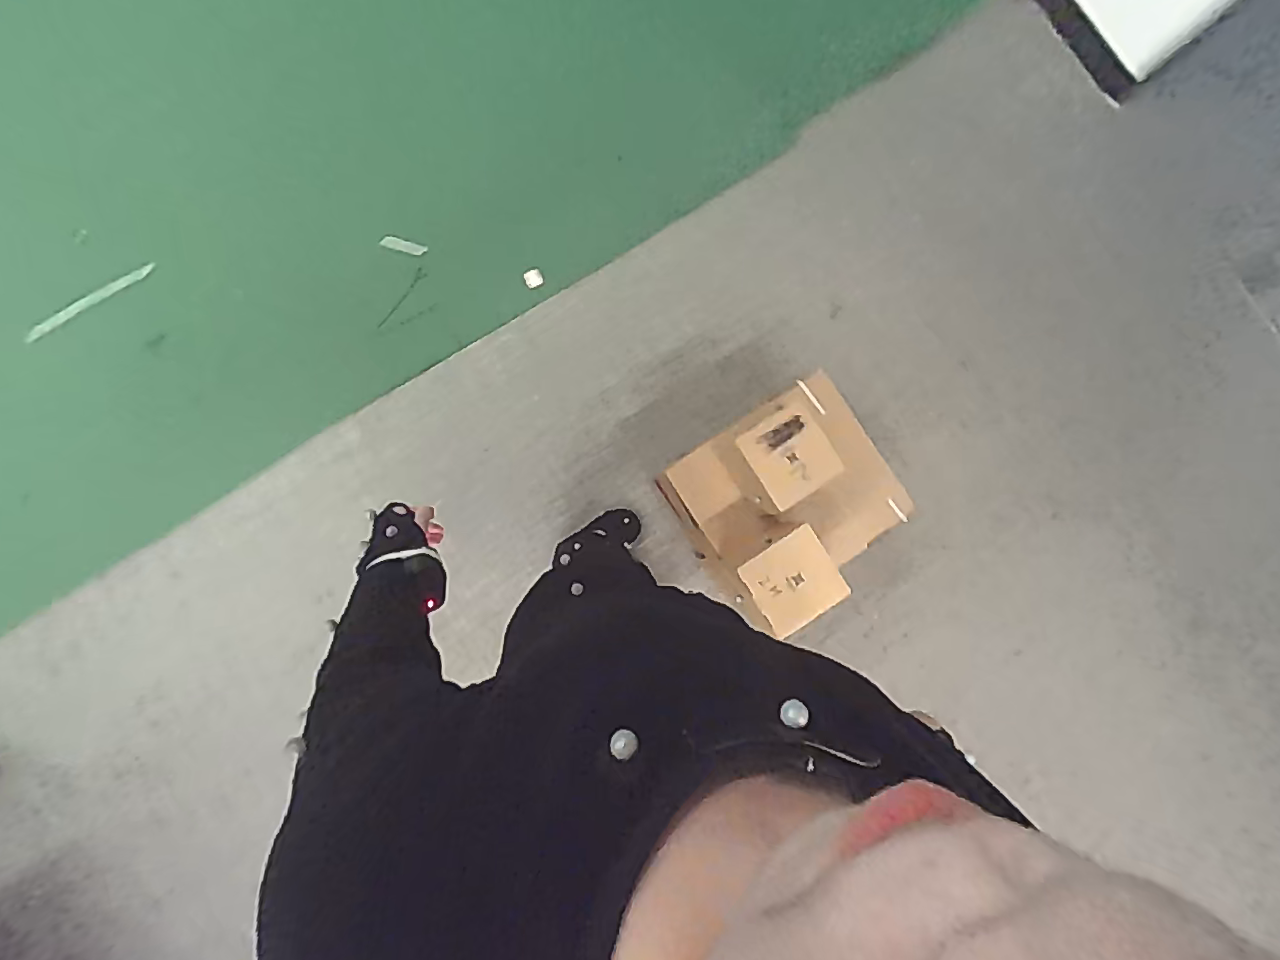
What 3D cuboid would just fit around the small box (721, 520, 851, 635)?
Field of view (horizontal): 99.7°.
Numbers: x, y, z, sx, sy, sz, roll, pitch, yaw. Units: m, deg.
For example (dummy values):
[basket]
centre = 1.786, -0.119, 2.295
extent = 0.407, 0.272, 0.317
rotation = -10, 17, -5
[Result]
[small box]
centre = 0.295, 0.194, 1.134
extent = 0.179, 0.176, 0.168
rotation = -32, 88, -6
